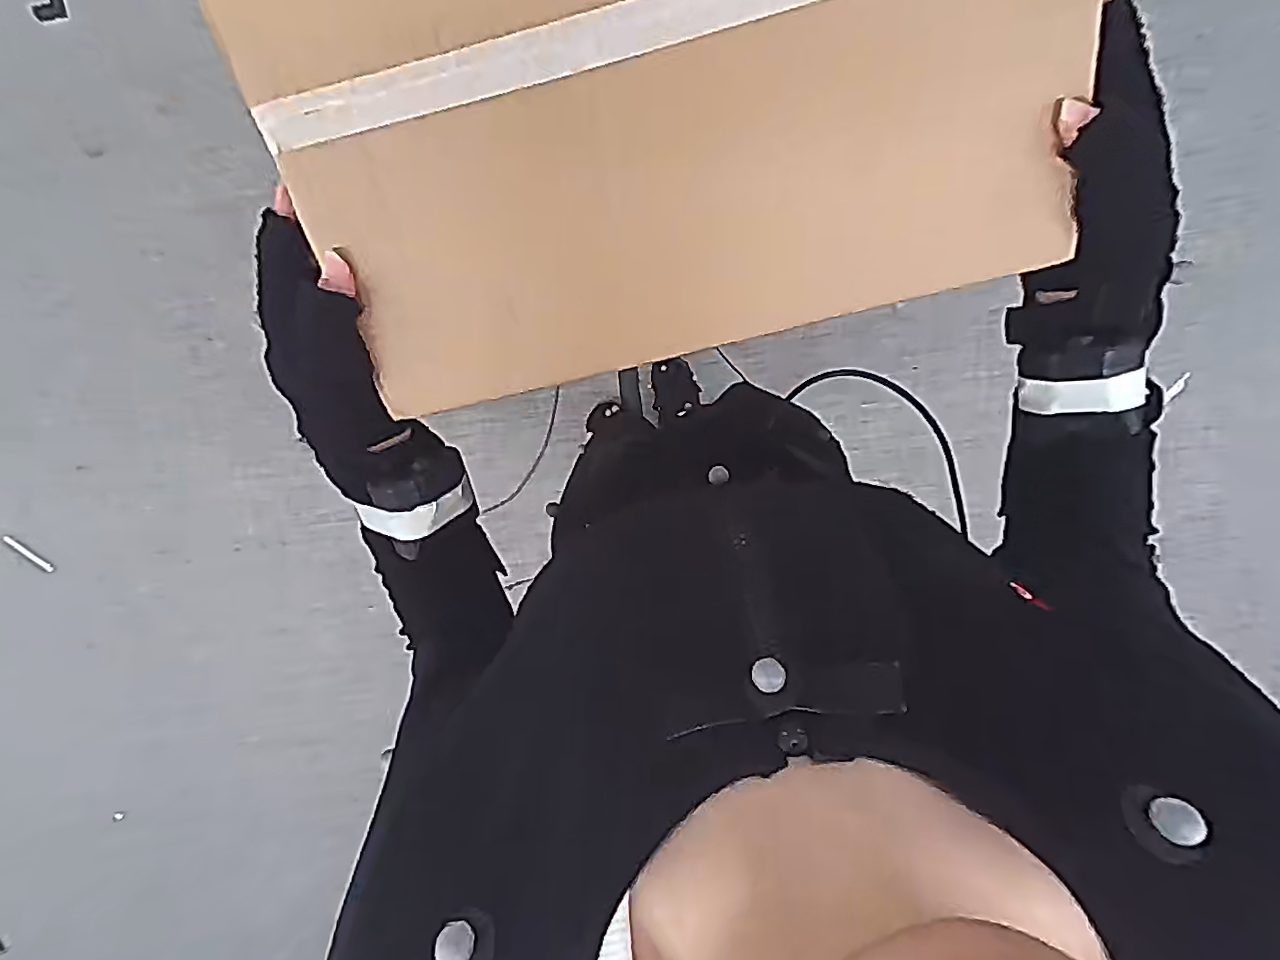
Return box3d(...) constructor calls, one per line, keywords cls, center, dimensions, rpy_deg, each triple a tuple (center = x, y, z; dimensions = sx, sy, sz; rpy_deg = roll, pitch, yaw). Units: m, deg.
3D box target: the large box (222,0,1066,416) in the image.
box3d(cls="large box", center=(0.006, -0.280, 0.399), dimensions=(0.408, 0.320, 0.320), rpy_deg=(-12, 114, 4))
